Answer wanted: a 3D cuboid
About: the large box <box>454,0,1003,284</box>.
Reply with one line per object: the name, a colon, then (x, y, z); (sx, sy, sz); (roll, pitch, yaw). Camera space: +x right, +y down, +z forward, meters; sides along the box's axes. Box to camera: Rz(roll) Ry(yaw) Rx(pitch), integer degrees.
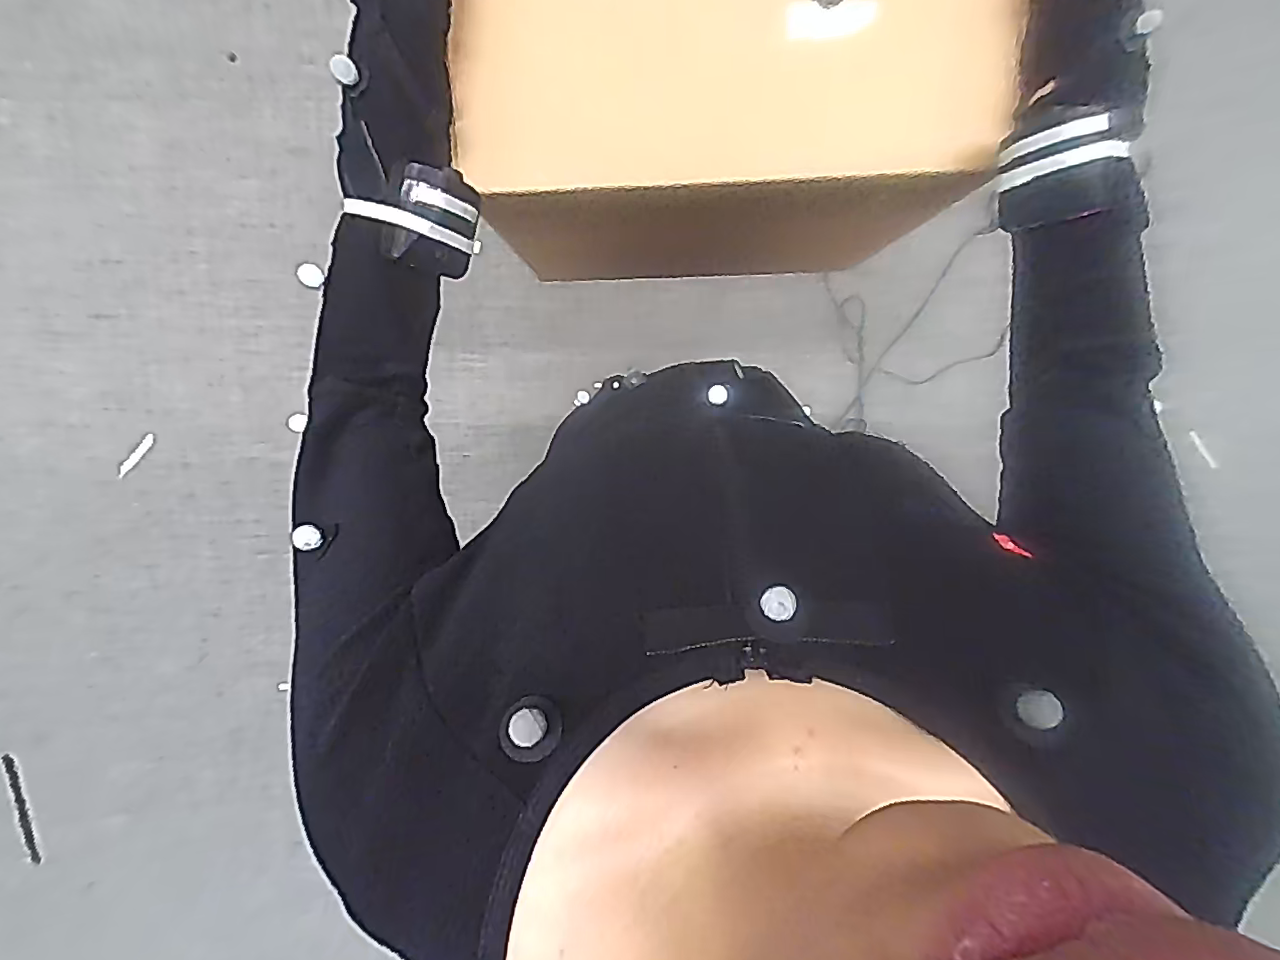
large box: (0.061, -0.397, 0.534); (0.408, 0.320, 0.320); (-2, 98, 1)
